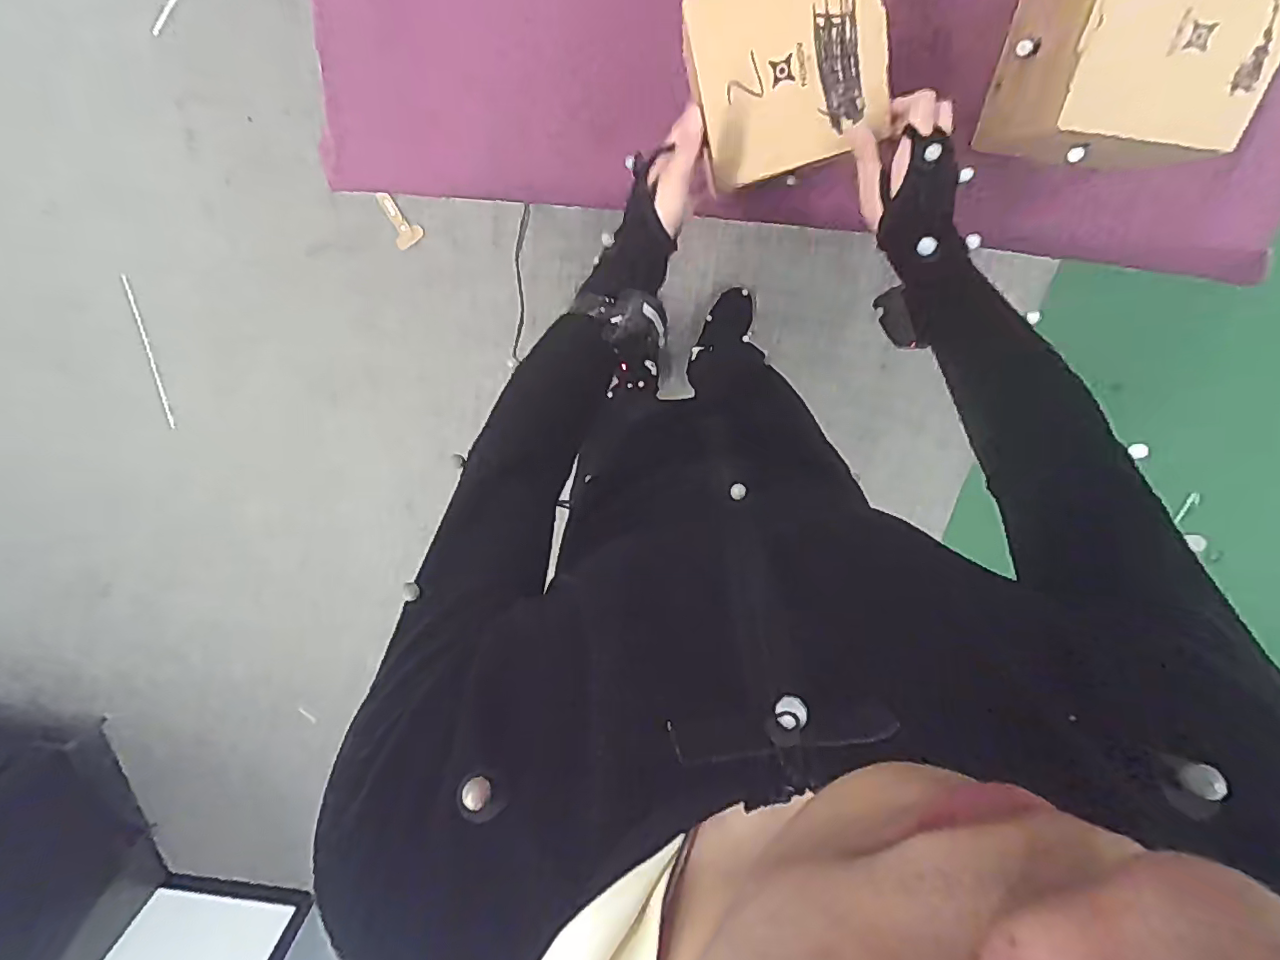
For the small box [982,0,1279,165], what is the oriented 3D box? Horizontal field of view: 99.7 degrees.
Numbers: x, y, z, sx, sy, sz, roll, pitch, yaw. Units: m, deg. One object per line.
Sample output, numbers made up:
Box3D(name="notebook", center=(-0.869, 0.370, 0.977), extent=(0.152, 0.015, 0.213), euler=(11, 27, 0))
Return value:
Box3D(name="small box", center=(0.487, -0.423, 0.539), extent=(0.179, 0.176, 0.168), euler=(9, 116, 2))
